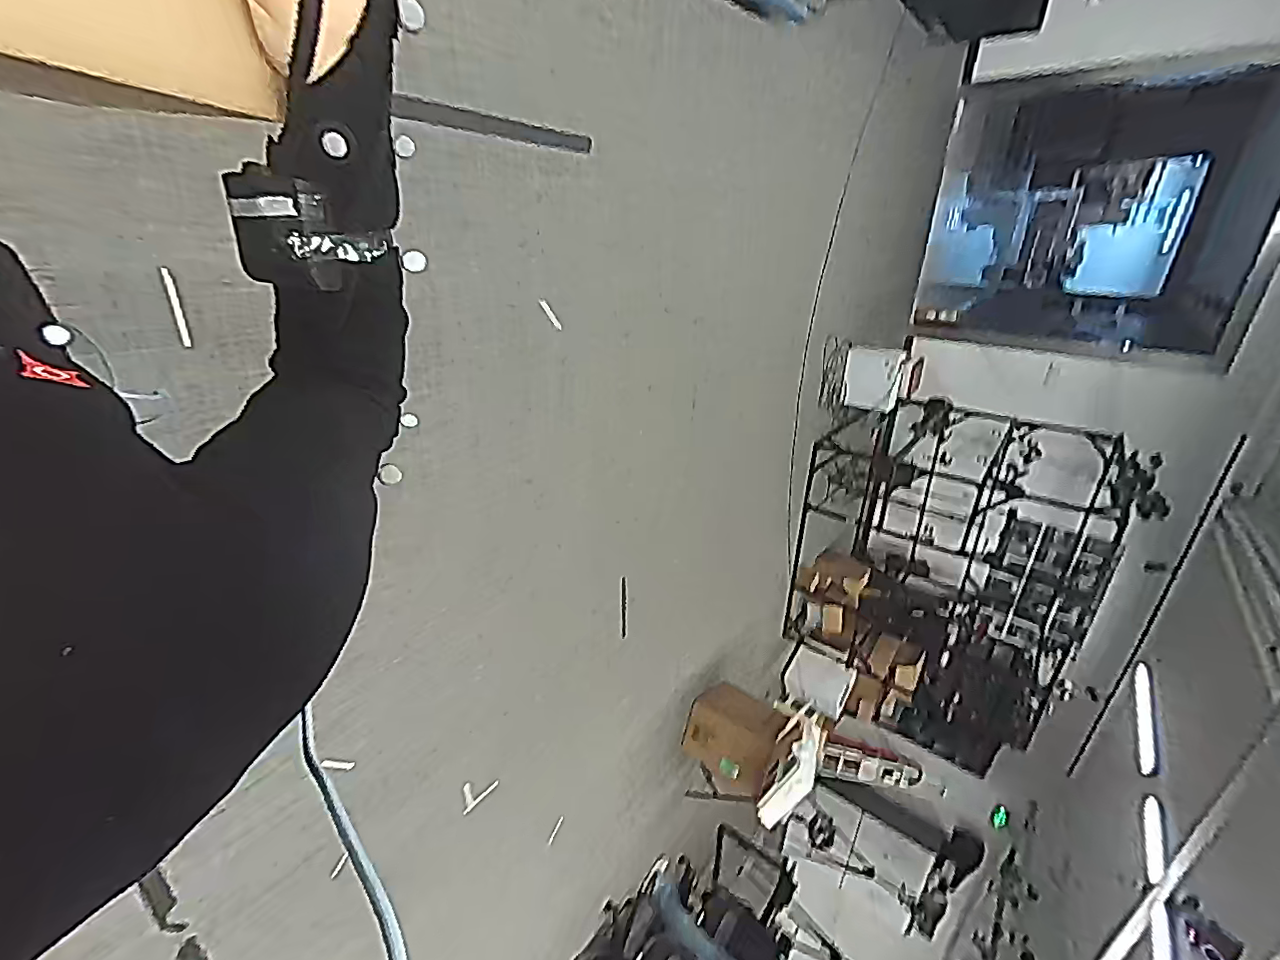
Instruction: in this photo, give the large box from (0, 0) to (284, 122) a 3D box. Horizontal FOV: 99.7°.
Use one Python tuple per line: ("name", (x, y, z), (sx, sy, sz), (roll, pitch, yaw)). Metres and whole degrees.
("large box", (-0.409, -0.335, 0.154), (0.408, 0.320, 0.320), (-26, 133, -53))
